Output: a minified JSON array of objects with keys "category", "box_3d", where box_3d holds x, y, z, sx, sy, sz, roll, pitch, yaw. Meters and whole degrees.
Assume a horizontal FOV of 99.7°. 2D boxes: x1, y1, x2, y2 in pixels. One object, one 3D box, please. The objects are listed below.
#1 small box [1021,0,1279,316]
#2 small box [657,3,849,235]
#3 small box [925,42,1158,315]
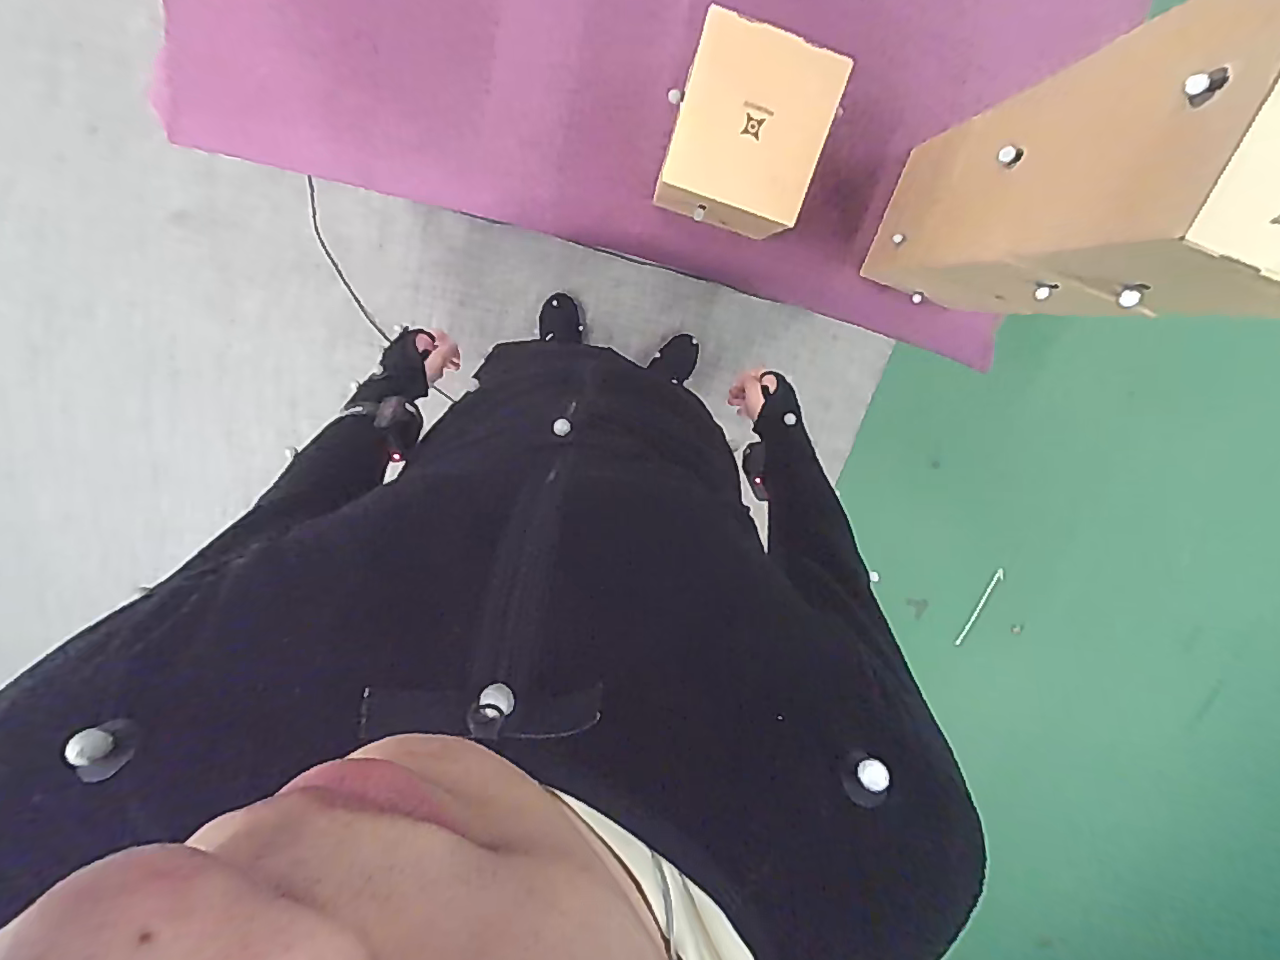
[{"category":"small box","box_3d":[0.433,-0.231,0.392,0.168,0.176,0.179,17,108,-6]},{"category":"small box","box_3d":[0.123,-0.422,0.671,0.168,0.176,0.179,16,107,-6]},{"category":"small box","box_3d":[0.431,-0.281,0.549,0.168,0.176,0.179,18,107,-6]}]
